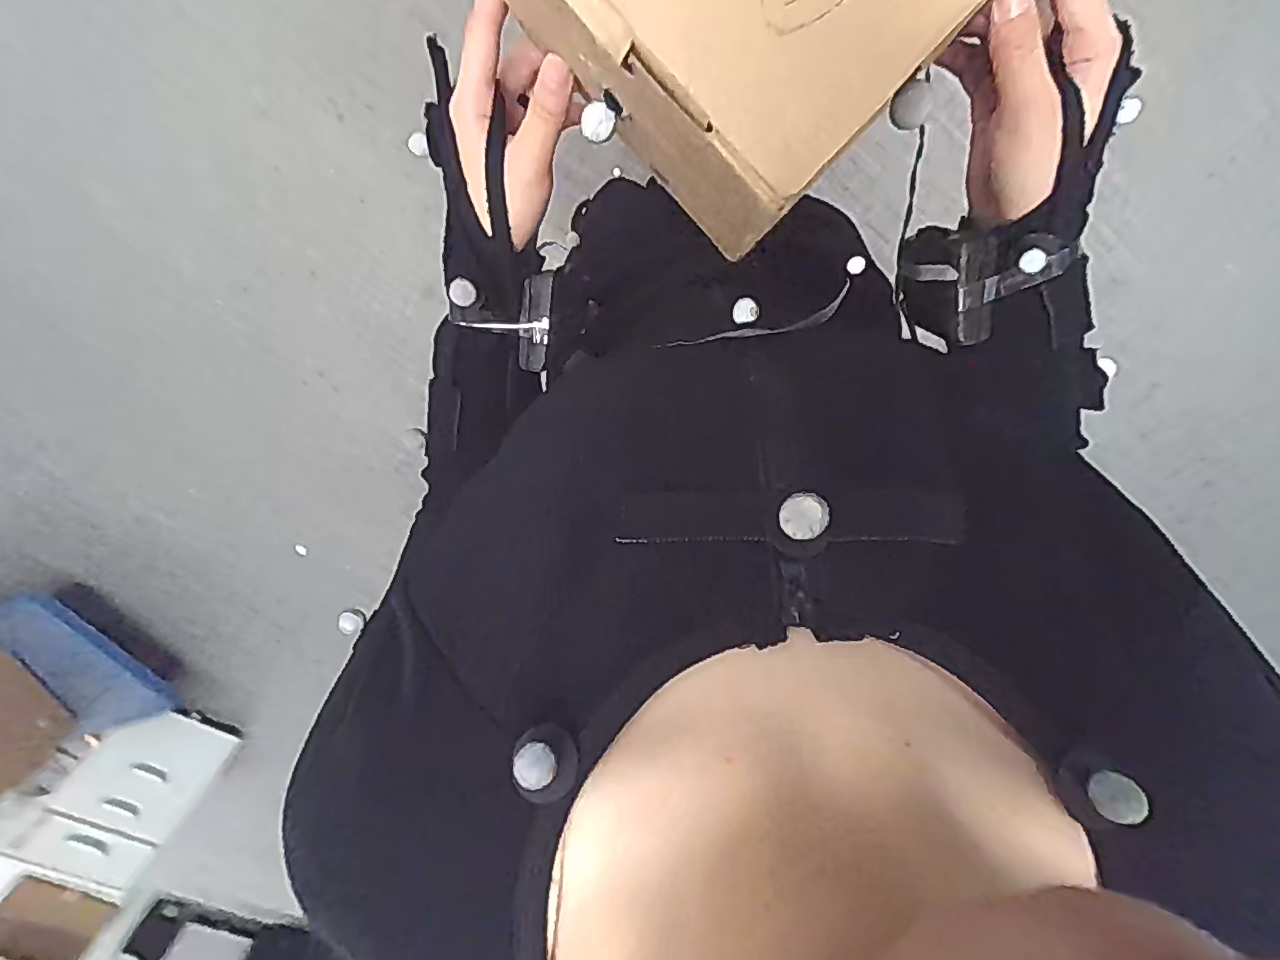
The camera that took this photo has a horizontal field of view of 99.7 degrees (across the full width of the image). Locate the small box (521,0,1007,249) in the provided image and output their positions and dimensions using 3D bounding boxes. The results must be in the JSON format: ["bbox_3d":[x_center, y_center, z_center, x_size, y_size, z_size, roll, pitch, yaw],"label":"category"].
[{"bbox_3d":[0.050,-0.211,0.196,0.179,0.176,0.168,-43,99,17],"label":"small box"}]
